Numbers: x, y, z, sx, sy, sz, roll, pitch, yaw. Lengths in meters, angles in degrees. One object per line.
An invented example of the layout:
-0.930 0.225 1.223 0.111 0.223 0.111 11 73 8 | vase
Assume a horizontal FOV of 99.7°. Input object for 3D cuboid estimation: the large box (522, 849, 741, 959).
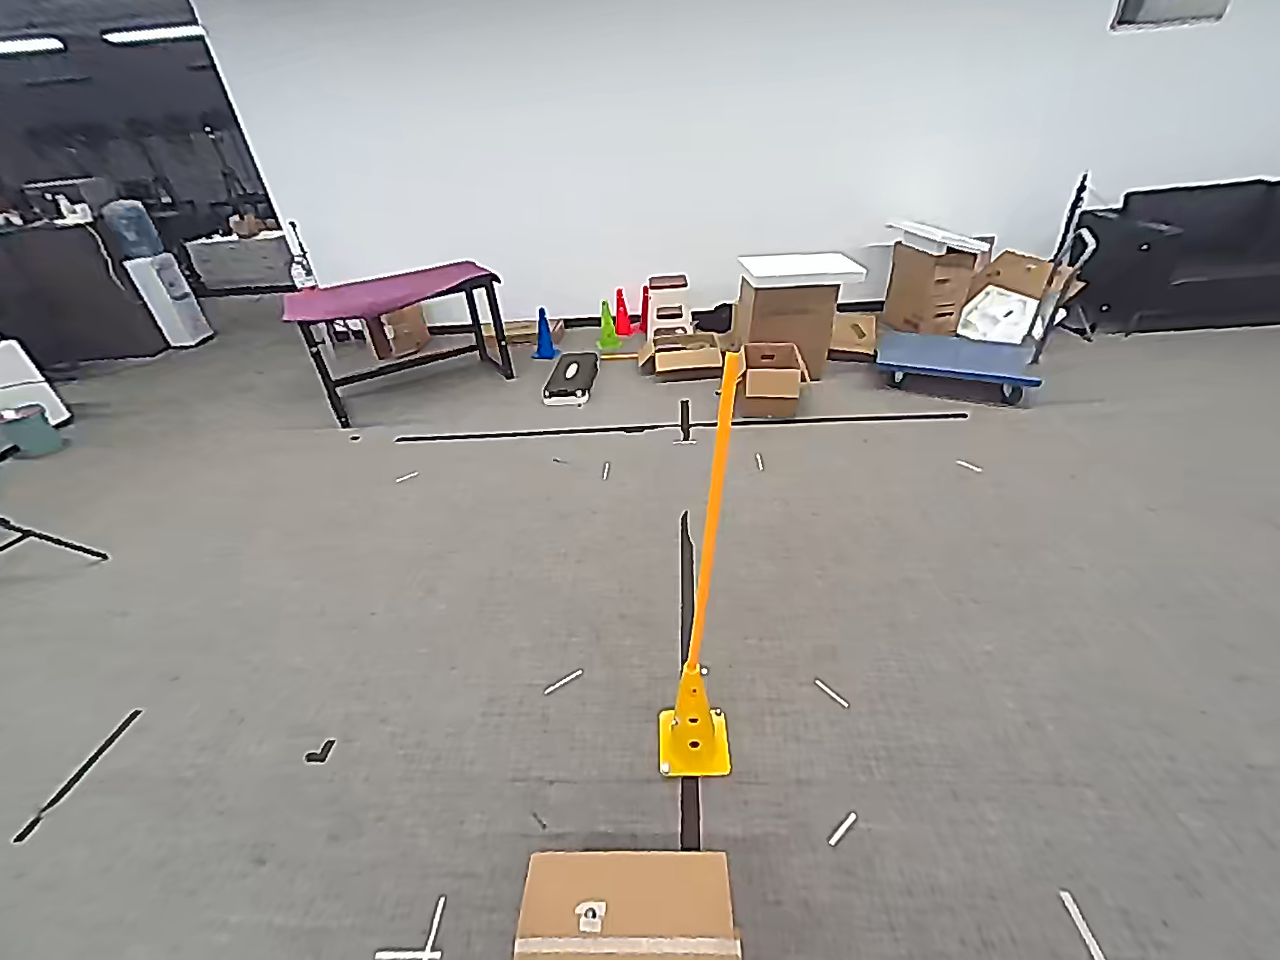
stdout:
-0.003 0.974 1.067 0.408 0.320 0.320 -4 33 4 | large box
